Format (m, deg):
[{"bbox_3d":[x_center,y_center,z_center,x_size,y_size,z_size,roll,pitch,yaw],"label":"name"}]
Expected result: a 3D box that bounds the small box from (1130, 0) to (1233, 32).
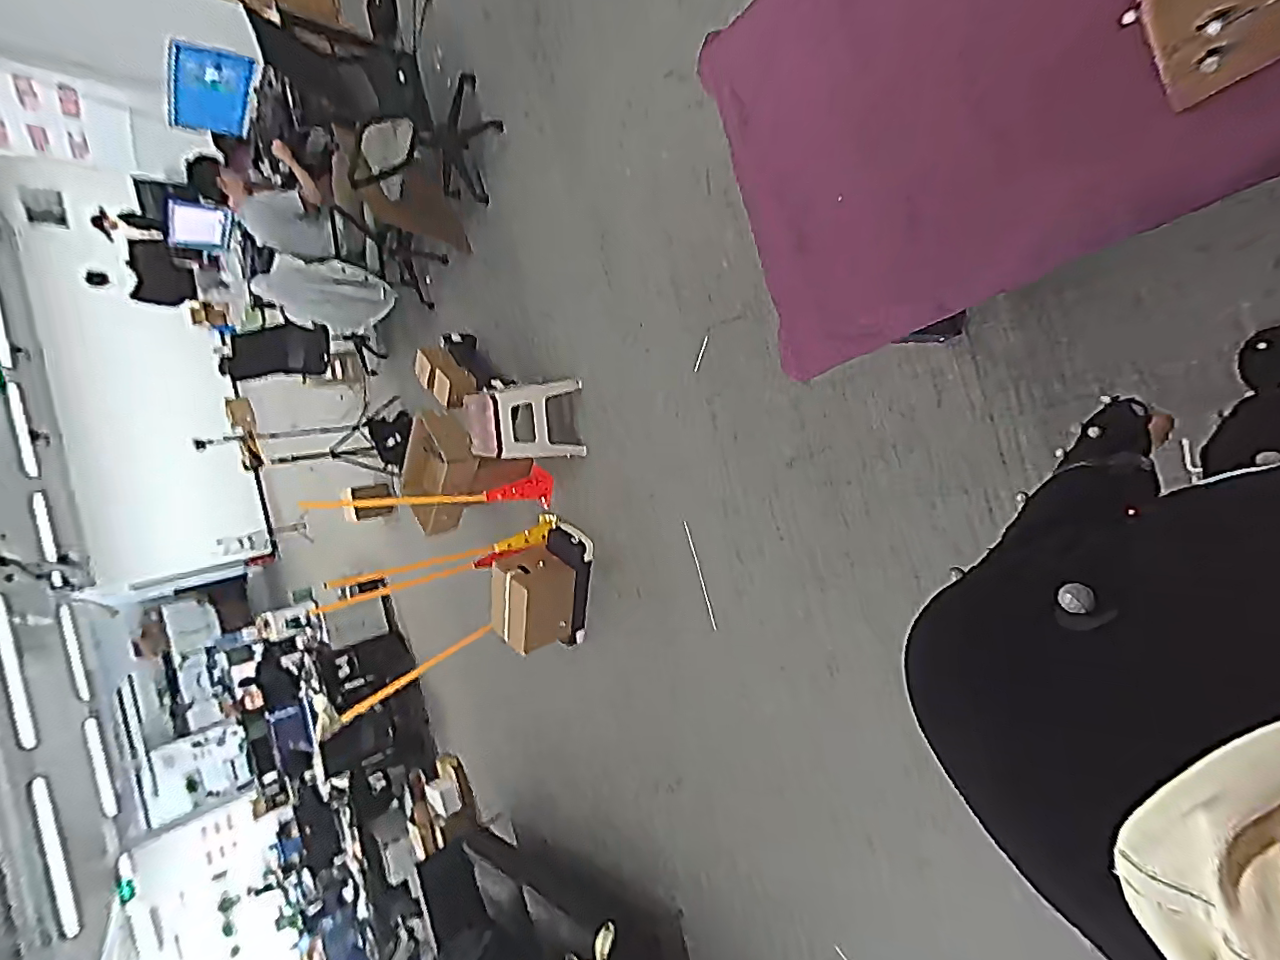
[{"bbox_3d":[0.451,-0.483,0.397,0.168,0.176,0.179,-19,85,48],"label":"small box"}]
